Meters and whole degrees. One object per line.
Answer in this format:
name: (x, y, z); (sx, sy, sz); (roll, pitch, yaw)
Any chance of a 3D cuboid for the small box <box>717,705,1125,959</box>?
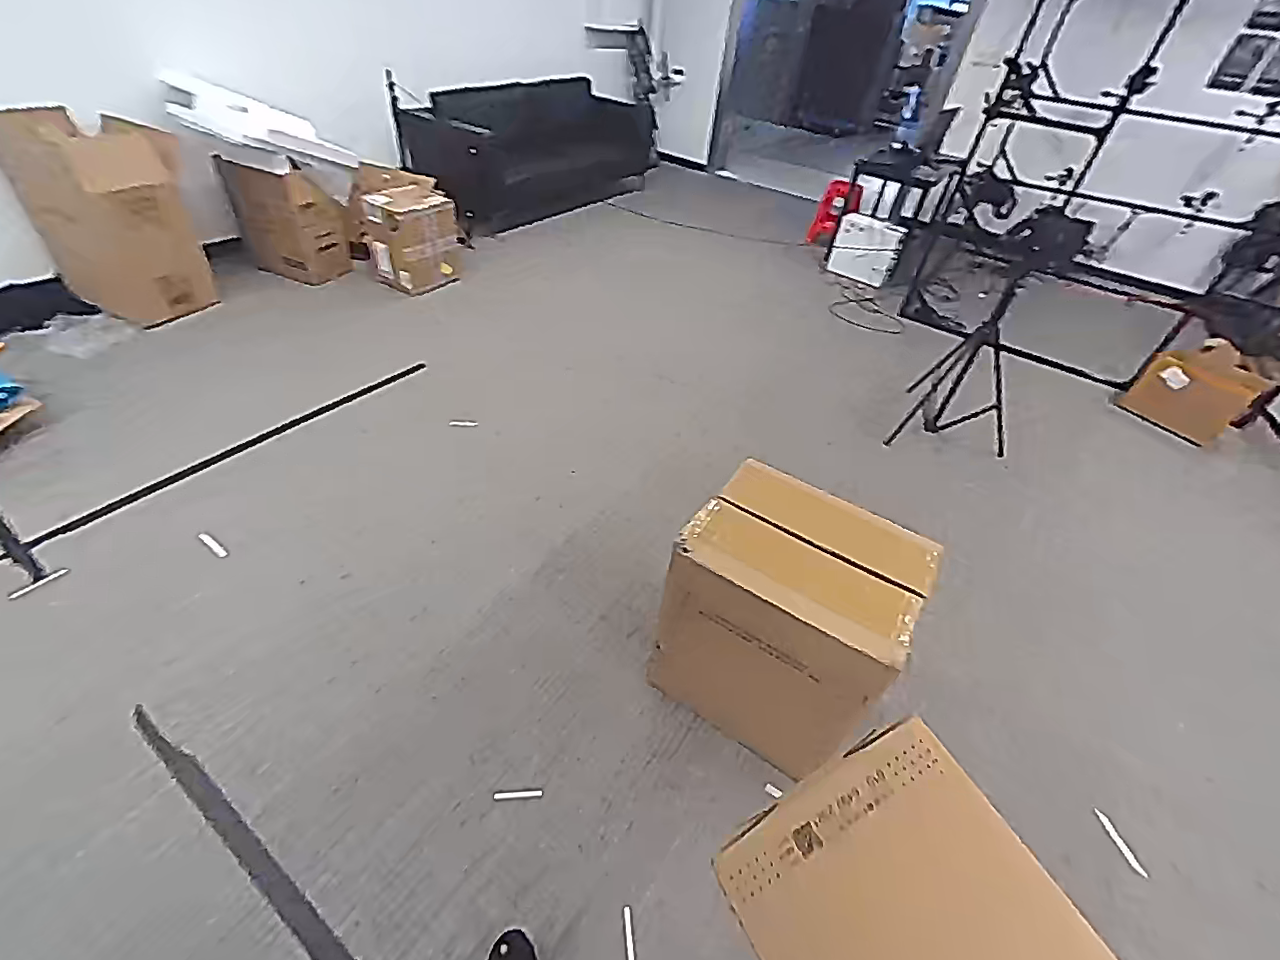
small box: (0.173, 0.282, 0.382); (0.168, 0.179, 0.176); (-34, 59, -3)
